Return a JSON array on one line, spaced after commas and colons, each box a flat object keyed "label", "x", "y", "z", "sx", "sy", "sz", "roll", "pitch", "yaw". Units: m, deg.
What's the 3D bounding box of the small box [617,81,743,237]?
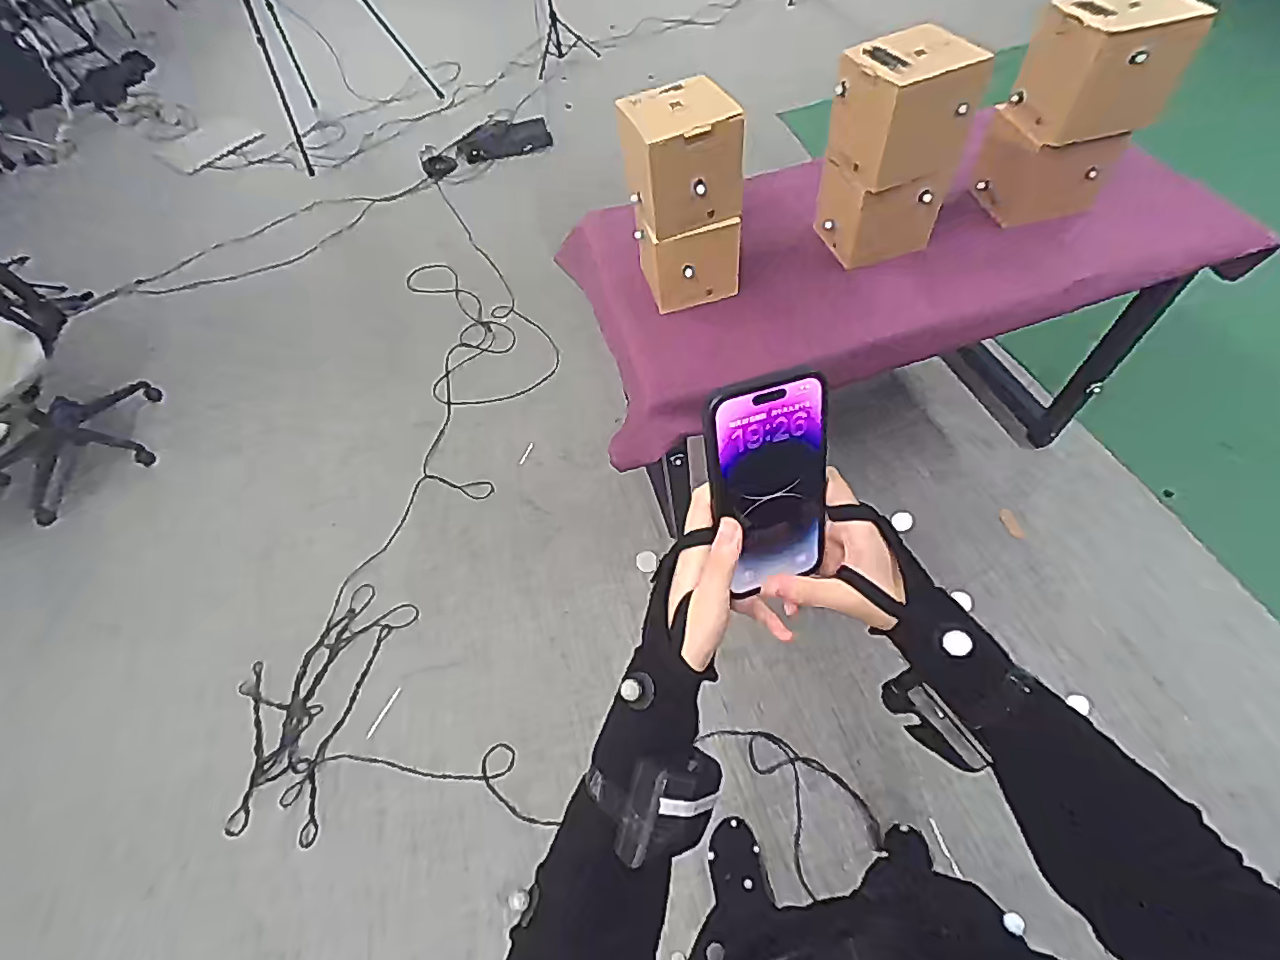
[{"label": "small box", "x": 0.072, "y": -0.556, "z": 0.956, "sx": 0.168, "sy": 0.176, "sz": 0.179, "roll": -20, "pitch": 57, "yaw": -5}]

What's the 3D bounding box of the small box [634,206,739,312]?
[{"label": "small box", "x": 0.096, "y": -0.461, "z": 1.088, "sx": 0.168, "sy": 0.176, "sz": 0.179, "roll": -16, "pitch": 56, "yaw": -1}]

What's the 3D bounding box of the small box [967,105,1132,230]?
[{"label": "small box", "x": 0.806, "y": -0.636, "z": 1.088, "sx": 0.179, "sy": 0.176, "sz": 0.168, "roll": -11, "pitch": 56, "yaw": 2}]

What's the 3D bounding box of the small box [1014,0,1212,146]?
[{"label": "small box", "x": 0.797, "y": -0.714, "z": 0.944, "sx": 0.179, "sy": 0.176, "sz": 0.168, "roll": -11, "pitch": 56, "yaw": 1}]

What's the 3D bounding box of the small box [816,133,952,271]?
[{"label": "small box", "x": 0.476, "y": -0.554, "z": 1.085, "sx": 0.179, "sy": 0.176, "sz": 0.168, "roll": -16, "pitch": 56, "yaw": -2}]
